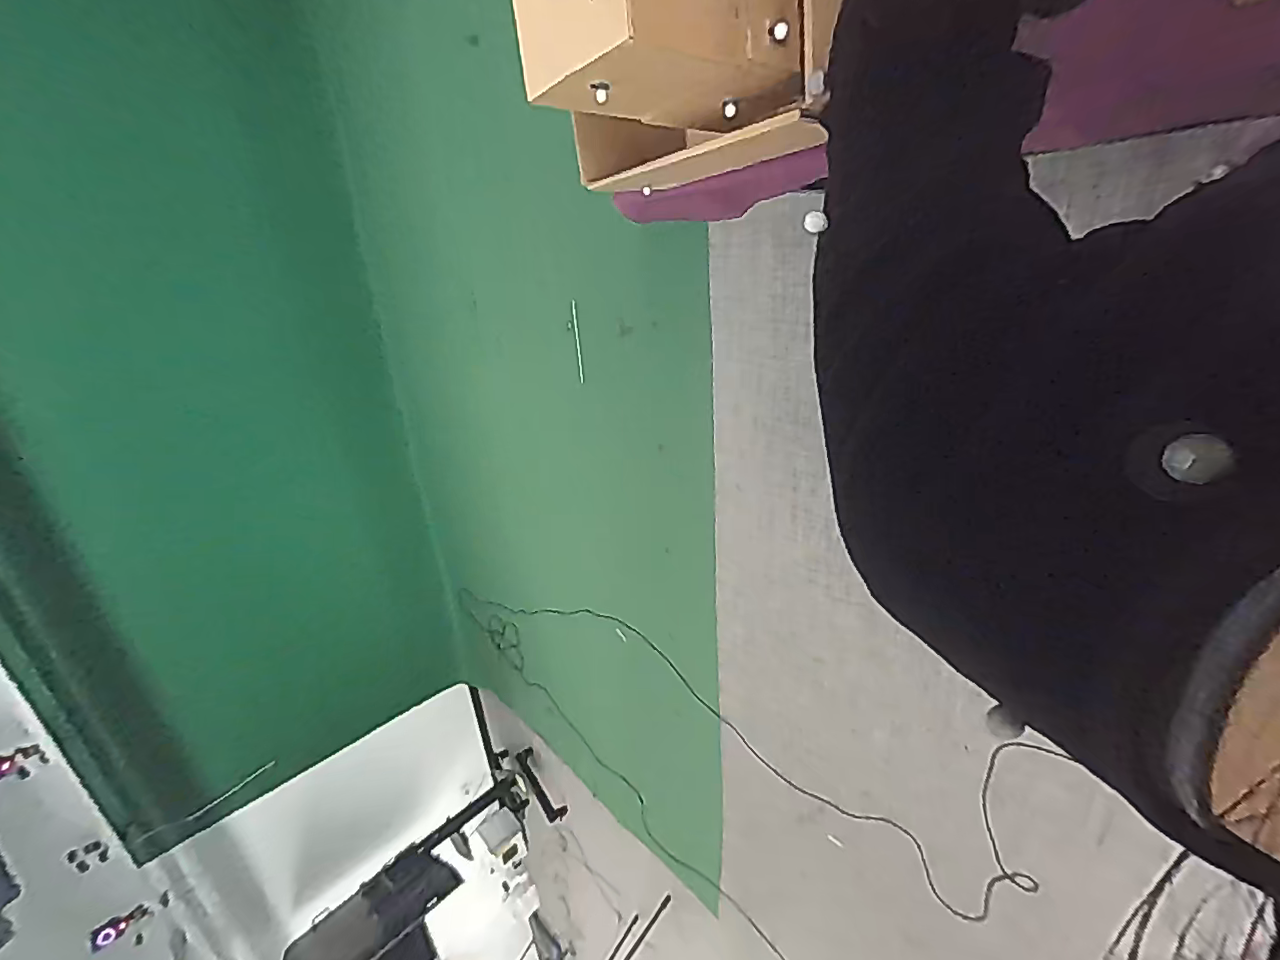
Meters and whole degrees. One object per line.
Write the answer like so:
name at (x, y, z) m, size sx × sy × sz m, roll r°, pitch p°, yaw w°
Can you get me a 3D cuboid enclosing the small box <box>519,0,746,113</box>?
small box at (-0.011, -0.504, 0.561) m, size 0.179 × 0.176 × 0.168 m, roll 15°, pitch 120°, yaw 45°
